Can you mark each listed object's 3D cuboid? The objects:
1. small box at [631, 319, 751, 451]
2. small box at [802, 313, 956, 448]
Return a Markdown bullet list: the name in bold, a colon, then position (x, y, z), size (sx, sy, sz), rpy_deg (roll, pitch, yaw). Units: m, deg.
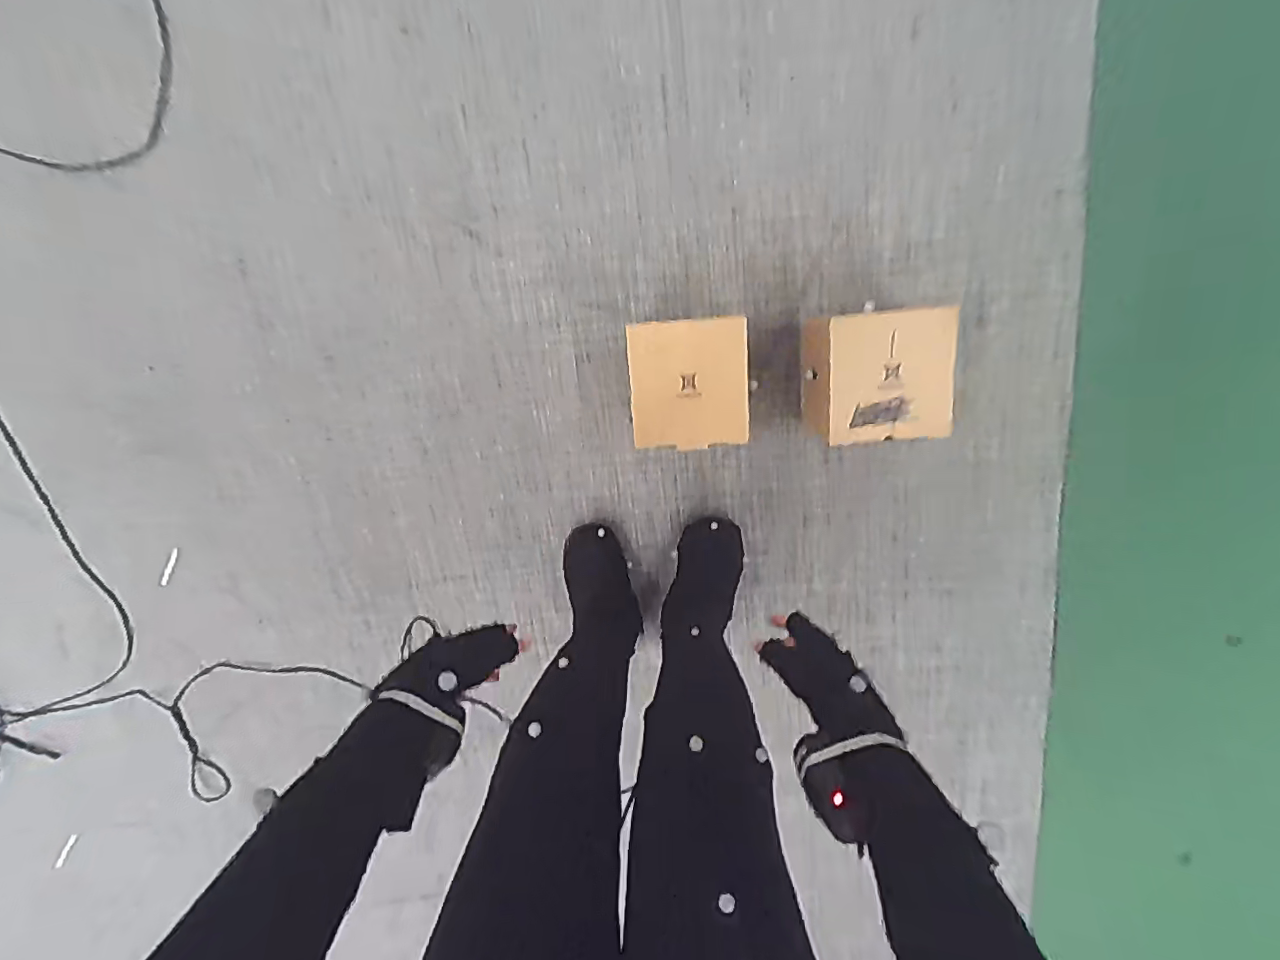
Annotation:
- **small box**: position (0.076, -0.149, 0.832), size (0.168, 0.176, 0.179), rpy_deg (-3, 105, 4)
- **small box**: position (0.344, -0.152, 0.811), size (0.168, 0.176, 0.179), rpy_deg (-3, 104, 5)
